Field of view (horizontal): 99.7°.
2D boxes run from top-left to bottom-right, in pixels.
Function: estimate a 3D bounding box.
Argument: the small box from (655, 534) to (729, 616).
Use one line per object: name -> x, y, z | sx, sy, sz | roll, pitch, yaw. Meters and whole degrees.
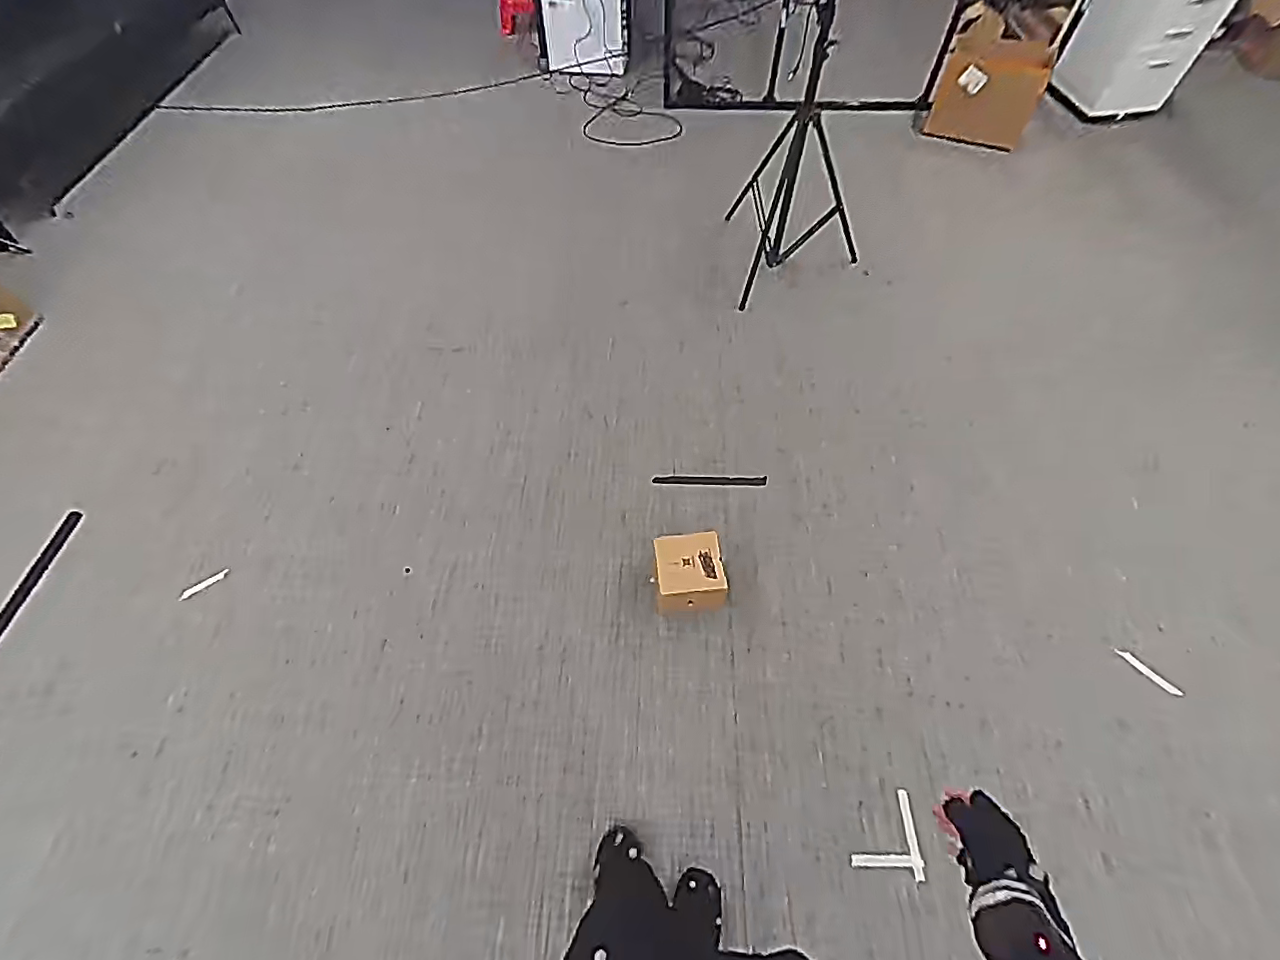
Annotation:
small box -> 0.135, 0.263, 1.477 | 0.179, 0.176, 0.168 | -5, 58, -1
